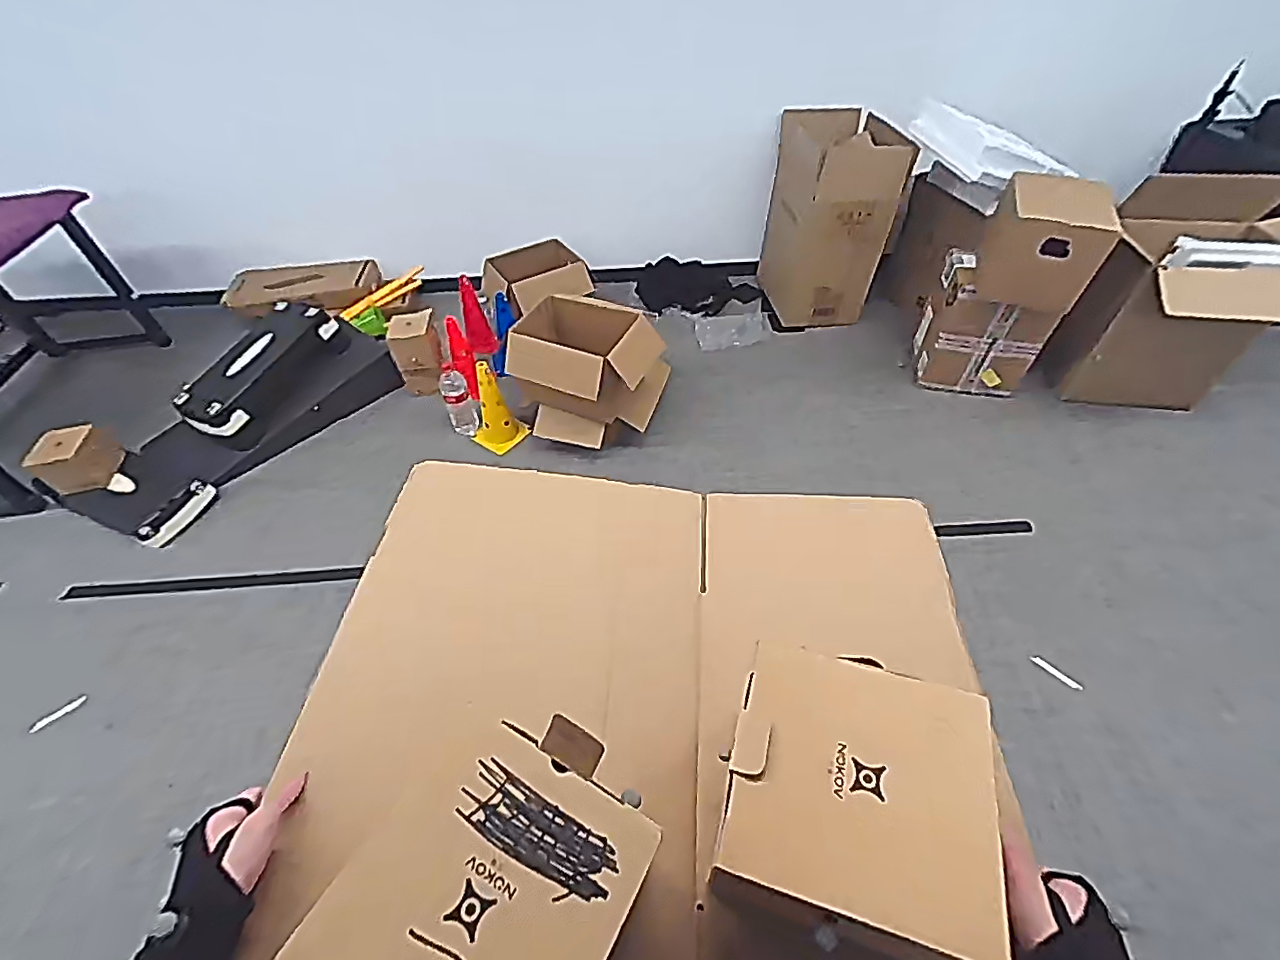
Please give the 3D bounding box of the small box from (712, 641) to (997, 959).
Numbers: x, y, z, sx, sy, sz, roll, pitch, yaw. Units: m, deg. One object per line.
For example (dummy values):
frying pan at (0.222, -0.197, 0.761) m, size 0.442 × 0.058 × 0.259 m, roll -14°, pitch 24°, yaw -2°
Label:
small box at (0.163, 0.263, 0.452) m, size 0.179 × 0.176 × 0.168 m, roll 10°, pitch 52°, yaw 15°
